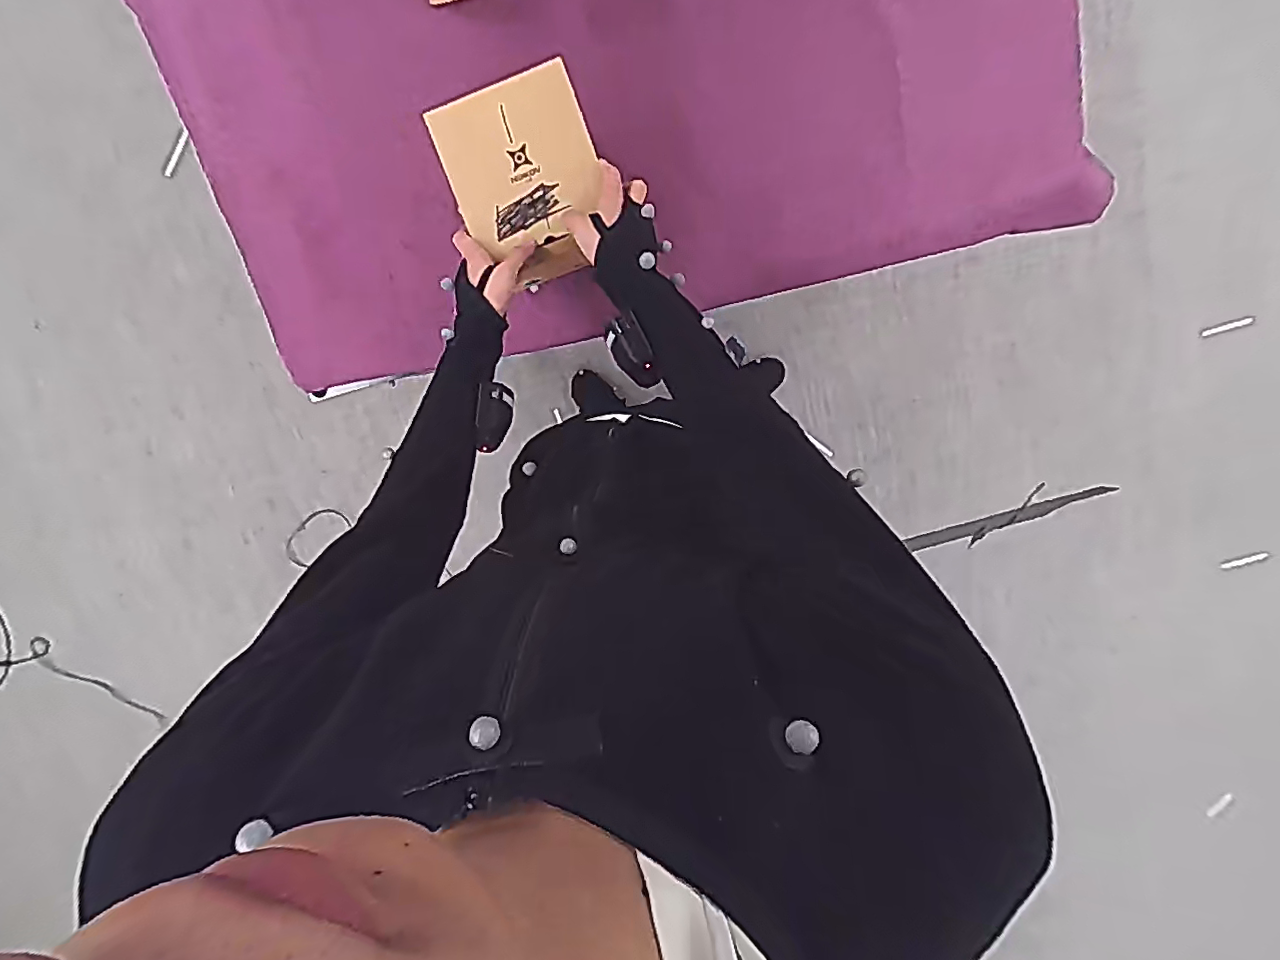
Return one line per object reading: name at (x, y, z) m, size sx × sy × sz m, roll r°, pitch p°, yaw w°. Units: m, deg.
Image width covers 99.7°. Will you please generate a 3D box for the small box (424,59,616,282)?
small box at (-0.132, -0.363, 0.678) m, size 0.168 × 0.176 × 0.179 m, roll -19°, pitch 100°, yaw 3°
